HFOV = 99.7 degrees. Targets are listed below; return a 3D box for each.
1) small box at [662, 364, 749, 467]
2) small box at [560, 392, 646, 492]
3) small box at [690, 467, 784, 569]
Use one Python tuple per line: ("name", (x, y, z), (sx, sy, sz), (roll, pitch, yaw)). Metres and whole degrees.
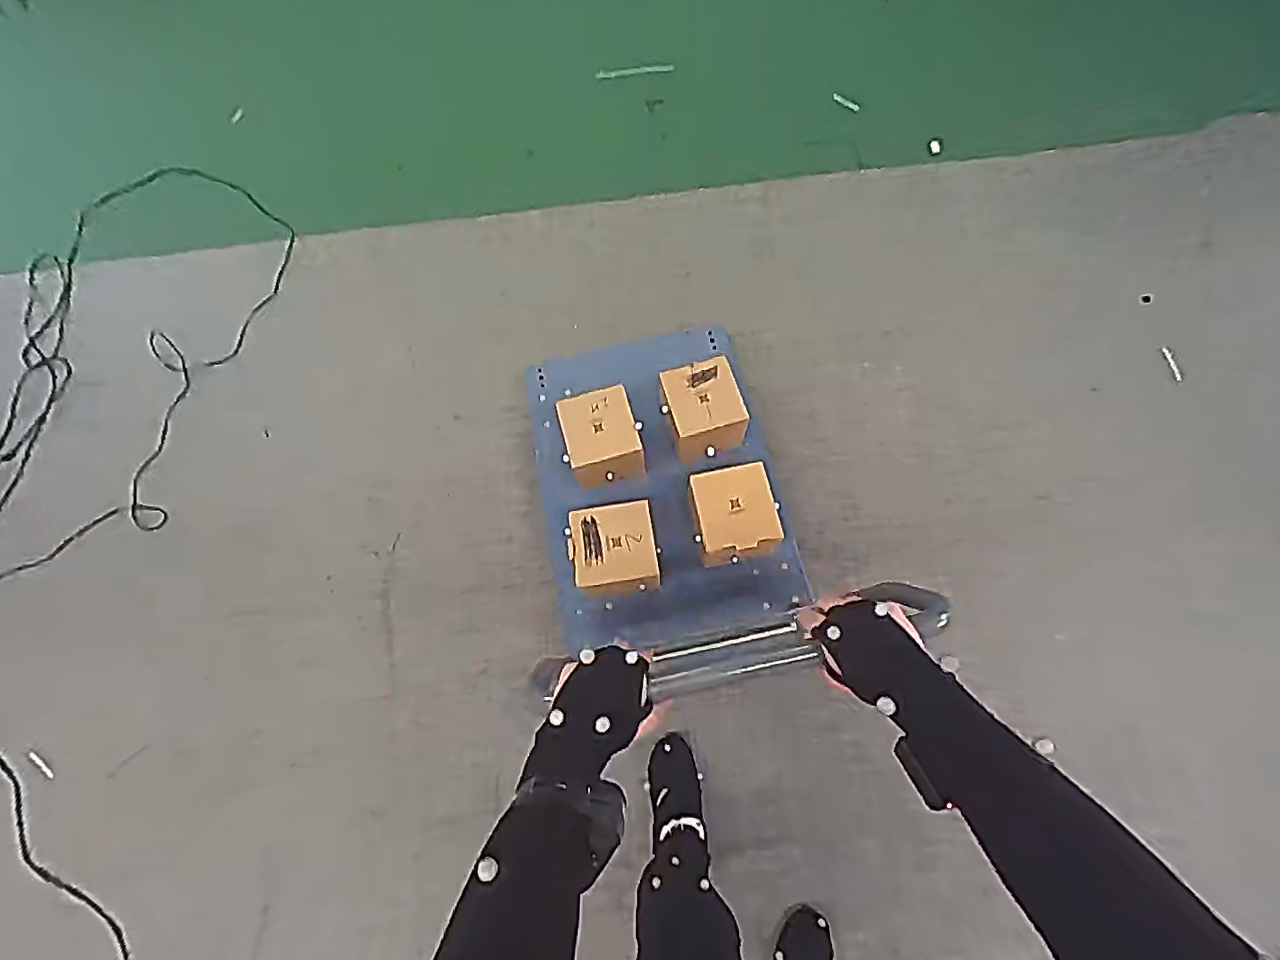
("small box", (0.155, -0.154, 1.336), (0.168, 0.176, 0.179), (-16, 71, -1))
("small box", (-0.086, -0.083, 1.326), (0.168, 0.176, 0.179), (-16, 70, -3))
("small box", (0.213, 0.093, 1.244), (0.168, 0.176, 0.179), (-12, 70, -1))
